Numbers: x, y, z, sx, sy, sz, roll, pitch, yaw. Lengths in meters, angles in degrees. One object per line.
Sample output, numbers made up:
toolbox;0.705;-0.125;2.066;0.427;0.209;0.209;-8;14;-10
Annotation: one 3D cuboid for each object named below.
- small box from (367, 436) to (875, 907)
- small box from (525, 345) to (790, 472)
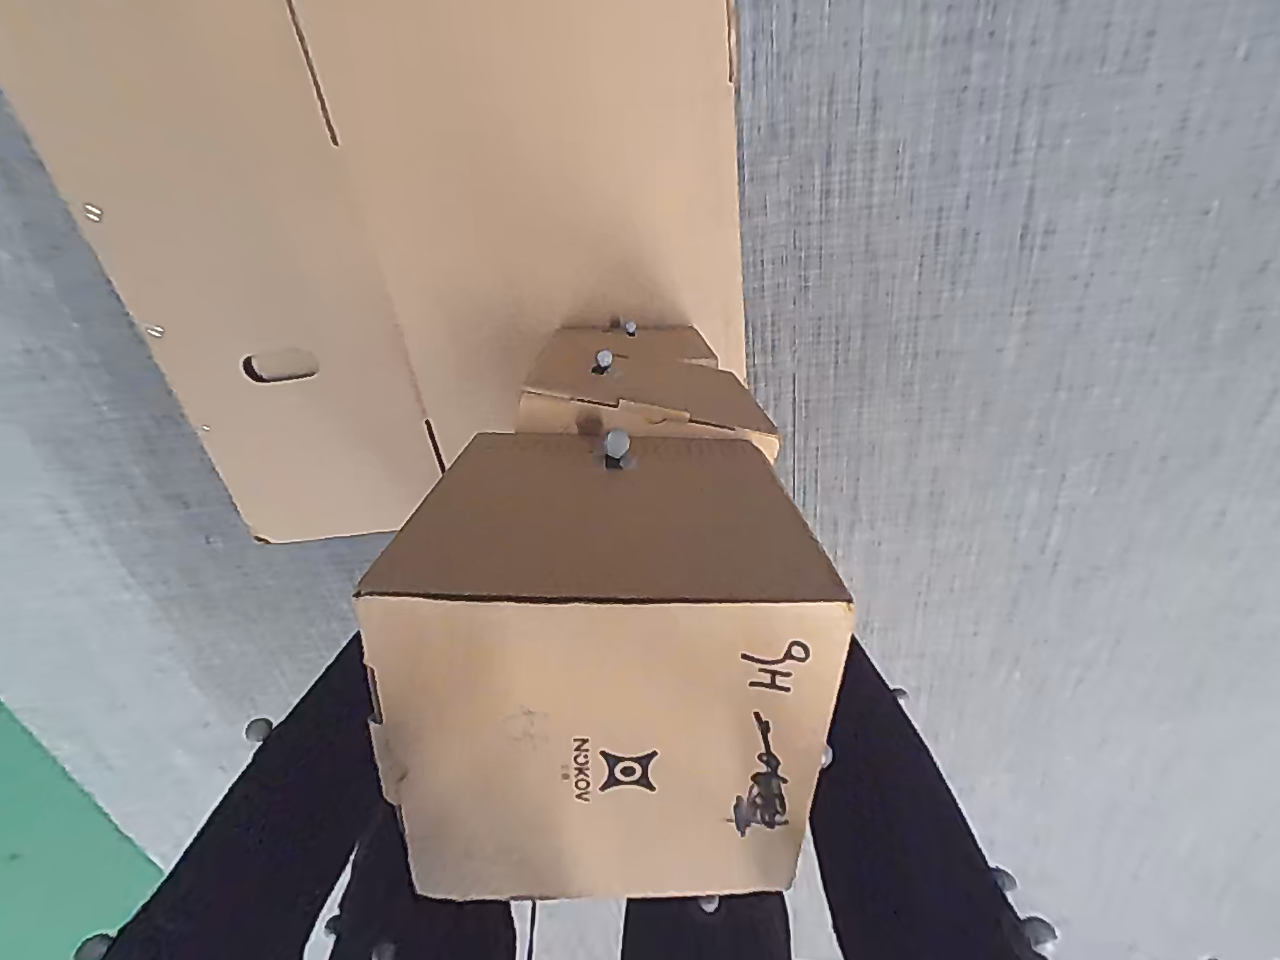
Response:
small box;-0.010;0.080;0.286;0.179;0.176;0.168;2;113;-2
small box;-0.006;0.003;0.430;0.168;0.176;0.179;11;114;-6
